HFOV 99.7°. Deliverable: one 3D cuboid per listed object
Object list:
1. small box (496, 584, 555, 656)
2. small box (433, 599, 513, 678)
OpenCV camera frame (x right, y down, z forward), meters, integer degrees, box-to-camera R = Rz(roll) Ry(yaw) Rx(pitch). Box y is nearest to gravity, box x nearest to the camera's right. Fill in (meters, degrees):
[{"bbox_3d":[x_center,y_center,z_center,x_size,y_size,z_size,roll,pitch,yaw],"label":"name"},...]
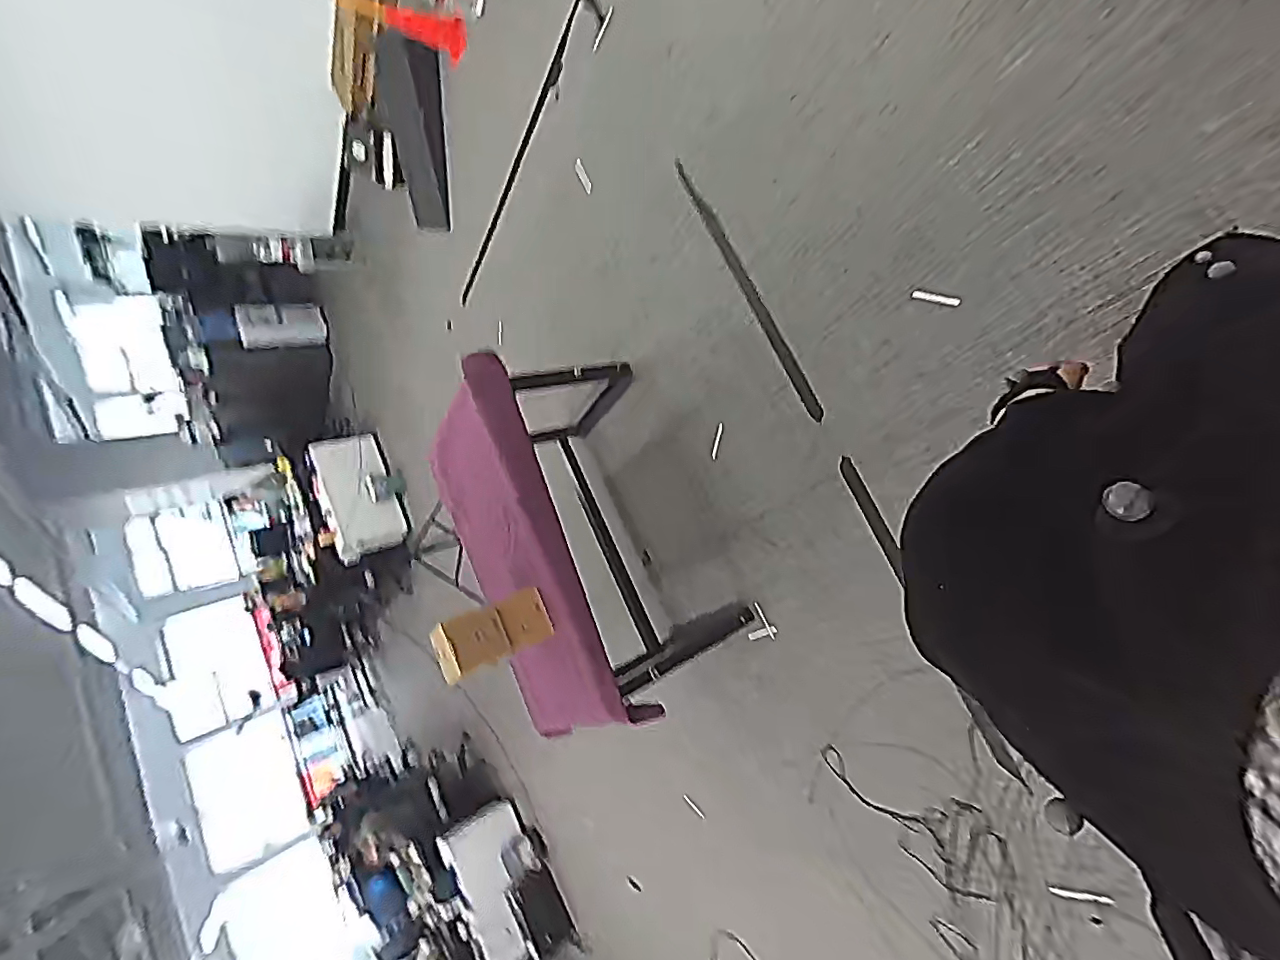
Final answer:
[{"bbox_3d":[-0.402,0.461,1.791,0.179,0.176,0.168,-40,72,50],"label":"small box"},{"bbox_3d":[-0.512,0.486,1.670,0.179,0.176,0.168,-41,71,49],"label":"small box"}]
